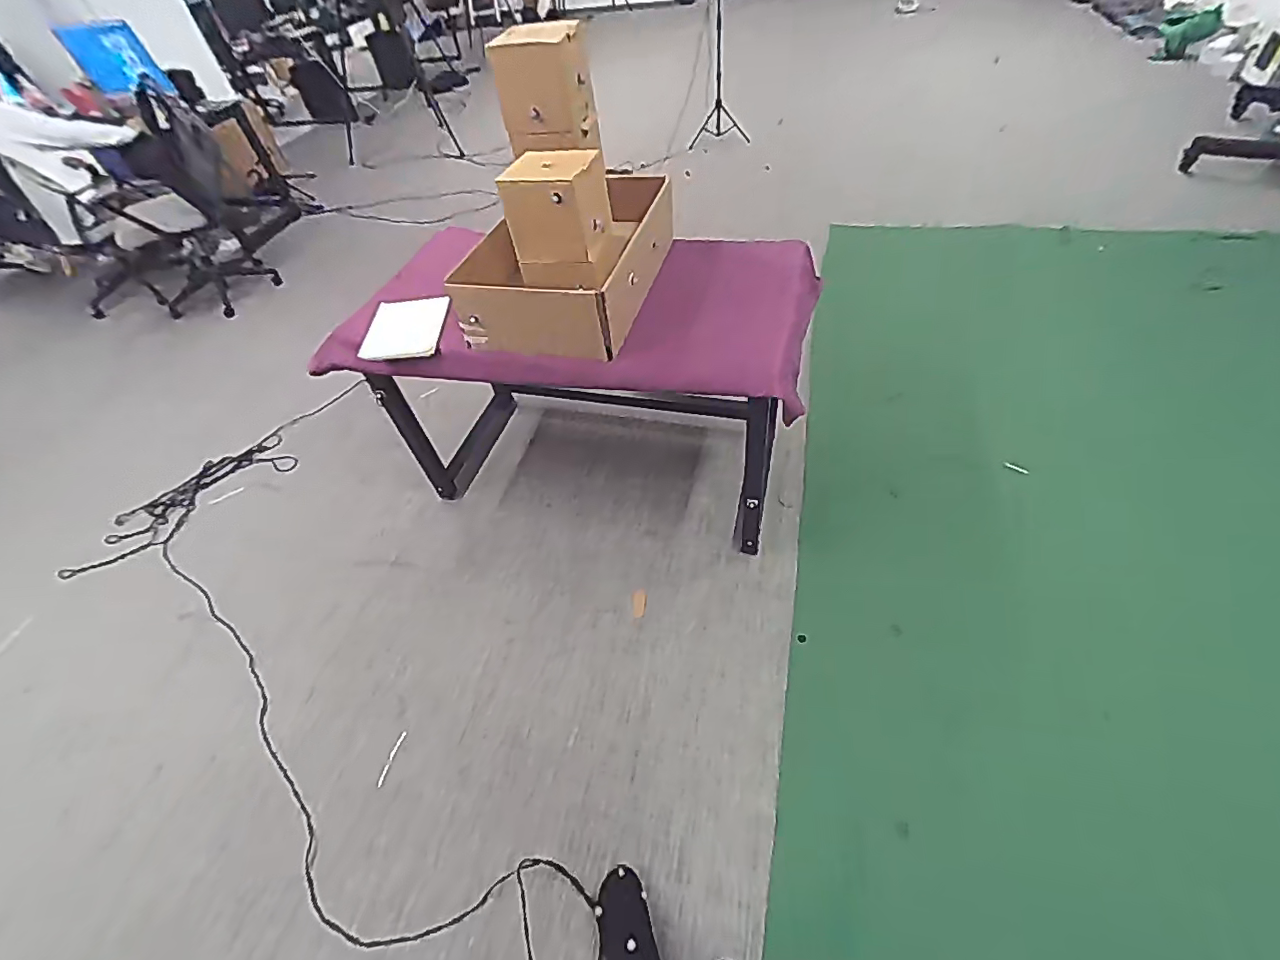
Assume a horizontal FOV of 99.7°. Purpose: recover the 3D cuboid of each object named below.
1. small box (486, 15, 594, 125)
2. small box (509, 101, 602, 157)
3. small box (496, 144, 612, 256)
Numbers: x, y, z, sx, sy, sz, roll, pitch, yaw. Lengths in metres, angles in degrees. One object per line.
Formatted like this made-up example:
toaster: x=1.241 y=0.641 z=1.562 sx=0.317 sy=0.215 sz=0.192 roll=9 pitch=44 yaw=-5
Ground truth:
small box: x=-0.216 y=-0.931 z=1.234 sx=0.179 sy=0.176 sz=0.168 roll=9 pitch=52 yaw=14
small box: x=-0.198 y=-0.824 z=1.358 sx=0.179 sy=0.176 sz=0.168 roll=7 pitch=52 yaw=13
small box: x=-0.174 y=-0.596 z=1.155 sx=0.179 sy=0.176 sz=0.168 roll=9 pitch=50 yaw=15
